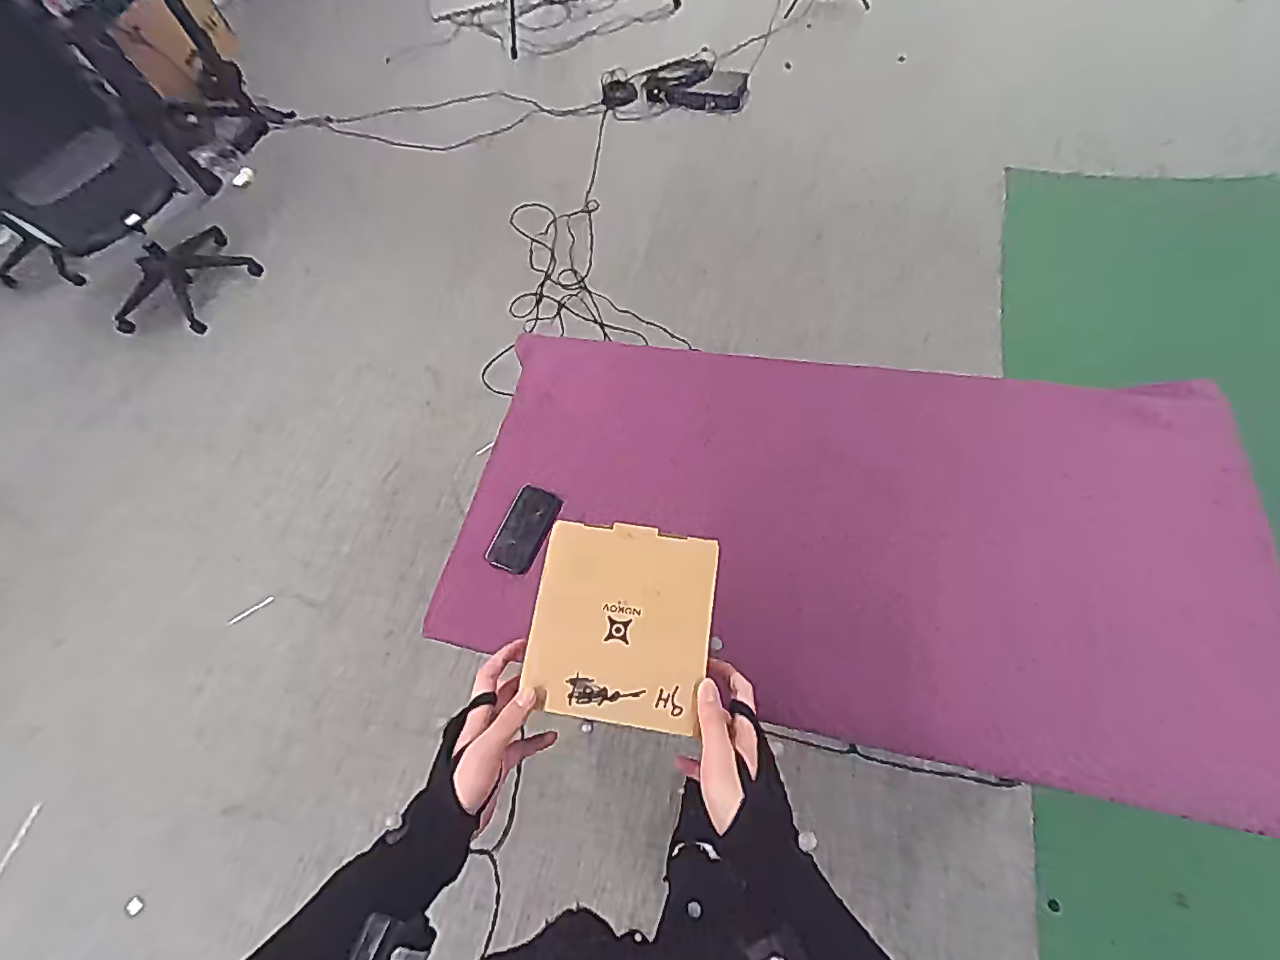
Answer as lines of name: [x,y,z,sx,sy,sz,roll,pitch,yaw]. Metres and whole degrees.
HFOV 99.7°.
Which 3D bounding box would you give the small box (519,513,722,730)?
small box: [-0.009,0.151,0.572,0.168,0.176,0.179,7,70,8]
